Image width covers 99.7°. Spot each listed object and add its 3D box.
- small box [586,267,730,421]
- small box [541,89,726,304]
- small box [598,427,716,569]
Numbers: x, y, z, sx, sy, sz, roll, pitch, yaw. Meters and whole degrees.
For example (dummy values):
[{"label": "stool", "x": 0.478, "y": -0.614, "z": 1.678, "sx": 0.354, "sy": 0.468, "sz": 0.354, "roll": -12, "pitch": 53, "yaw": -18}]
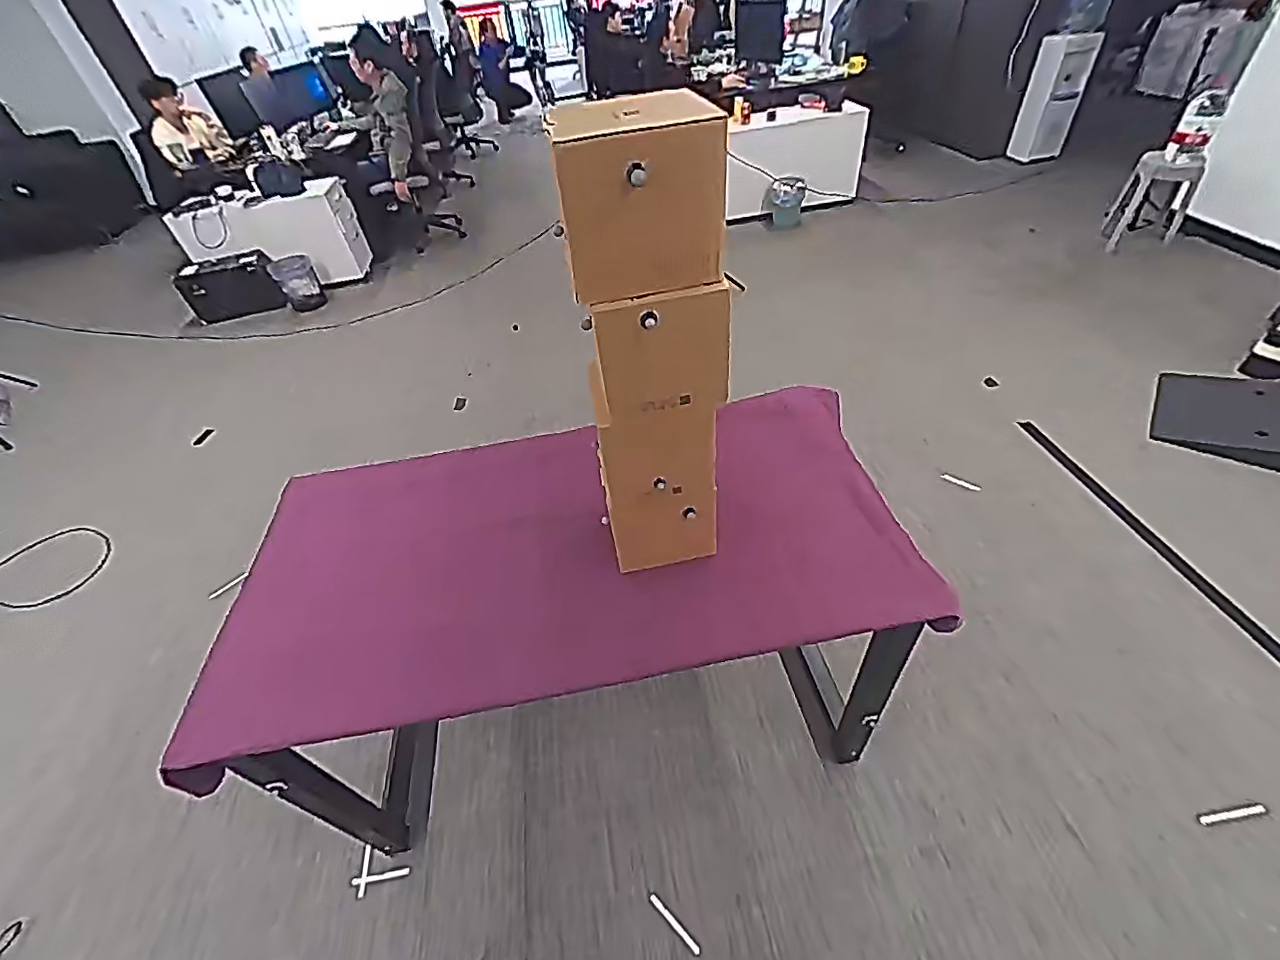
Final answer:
[{"label": "small box", "x": 0.017, "y": -0.204, "z": 0.732, "sx": 0.168, "sy": 0.176, "sz": 0.179, "roll": -11, "pitch": 44, "yaw": -3}, {"label": "small box", "x": -0.008, "y": -0.327, "z": 0.627, "sx": 0.179, "sy": 0.176, "sz": 0.168, "roll": -12, "pitch": 44, "yaw": -4}, {"label": "small box", "x": 0.031, "y": 0.033, "z": 0.958, "sx": 0.179, "sy": 0.176, "sz": 0.168, "roll": -11, "pitch": 43, "yaw": -3}]
